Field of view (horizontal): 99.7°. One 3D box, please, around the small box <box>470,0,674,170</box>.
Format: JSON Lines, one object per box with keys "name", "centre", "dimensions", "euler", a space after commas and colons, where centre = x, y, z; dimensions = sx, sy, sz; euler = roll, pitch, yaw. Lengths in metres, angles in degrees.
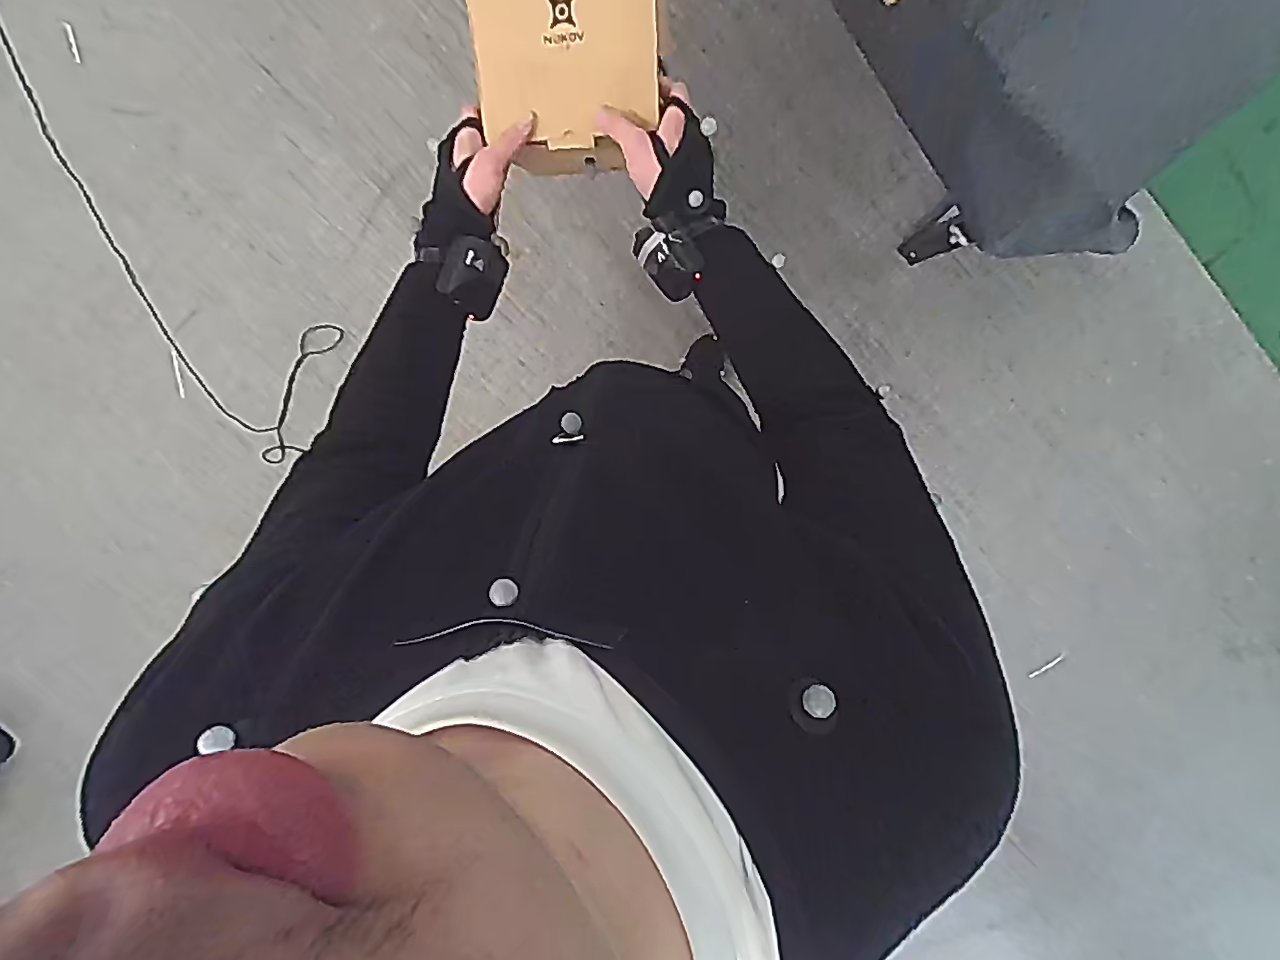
{"name": "small box", "centre": [-0.056, -0.425, 0.543], "dimensions": [0.168, 0.176, 0.179], "euler": [-2, 110, 8]}
